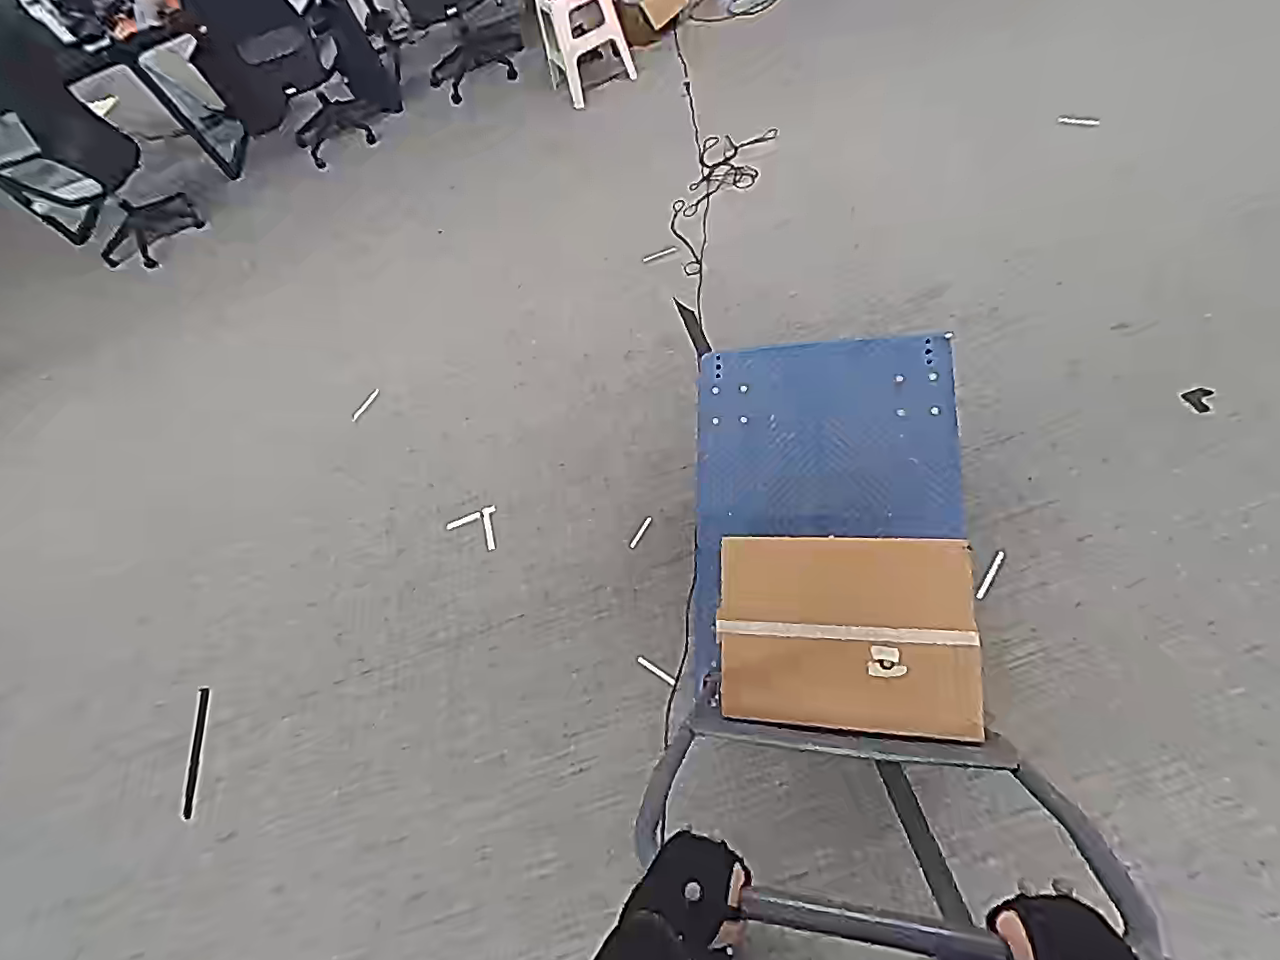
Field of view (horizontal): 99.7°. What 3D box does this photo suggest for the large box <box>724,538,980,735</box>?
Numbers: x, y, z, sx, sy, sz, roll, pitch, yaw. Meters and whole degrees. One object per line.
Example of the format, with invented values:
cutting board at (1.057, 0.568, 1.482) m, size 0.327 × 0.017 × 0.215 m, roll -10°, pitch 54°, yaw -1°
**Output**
large box at (0.381, 0.284, 1.064) m, size 0.408 × 0.320 × 0.320 m, roll -1°, pitch 80°, yaw 15°
